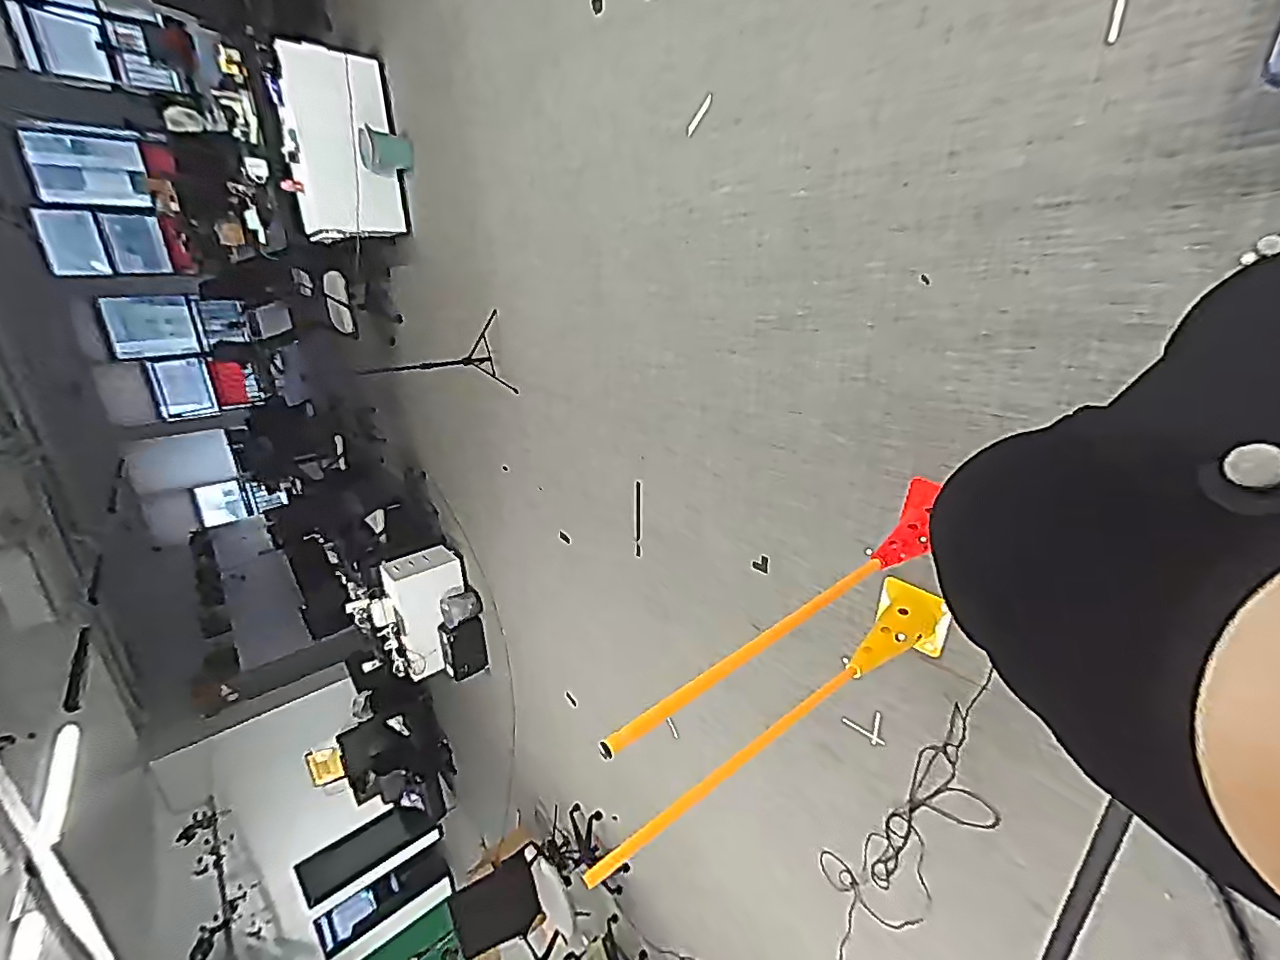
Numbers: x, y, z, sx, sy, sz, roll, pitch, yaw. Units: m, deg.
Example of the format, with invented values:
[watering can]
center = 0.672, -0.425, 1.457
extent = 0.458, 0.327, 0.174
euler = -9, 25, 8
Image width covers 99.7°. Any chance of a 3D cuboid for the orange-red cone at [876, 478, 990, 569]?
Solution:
[orange-red cone]
center = 0.705, 0.149, 1.386
extent = 0.198, 0.360, 0.199
euler = 30, 125, 41
